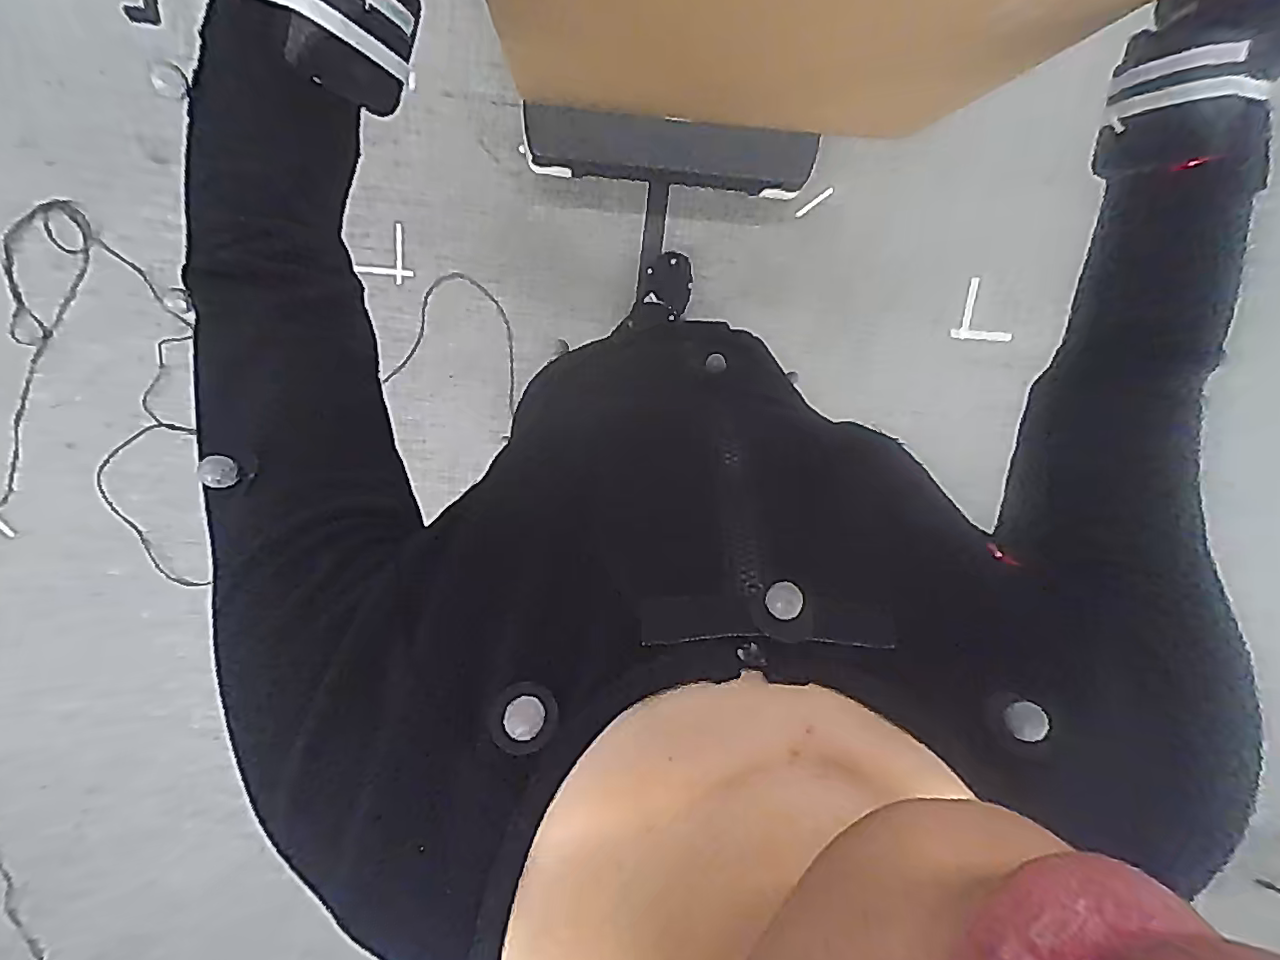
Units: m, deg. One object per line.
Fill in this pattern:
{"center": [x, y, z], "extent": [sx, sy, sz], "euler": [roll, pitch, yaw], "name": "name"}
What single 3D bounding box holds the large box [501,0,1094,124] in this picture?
{"center": [0.100, -0.482, 0.374], "extent": [0.408, 0.320, 0.320], "euler": [2, 108, -6], "name": "large box"}
